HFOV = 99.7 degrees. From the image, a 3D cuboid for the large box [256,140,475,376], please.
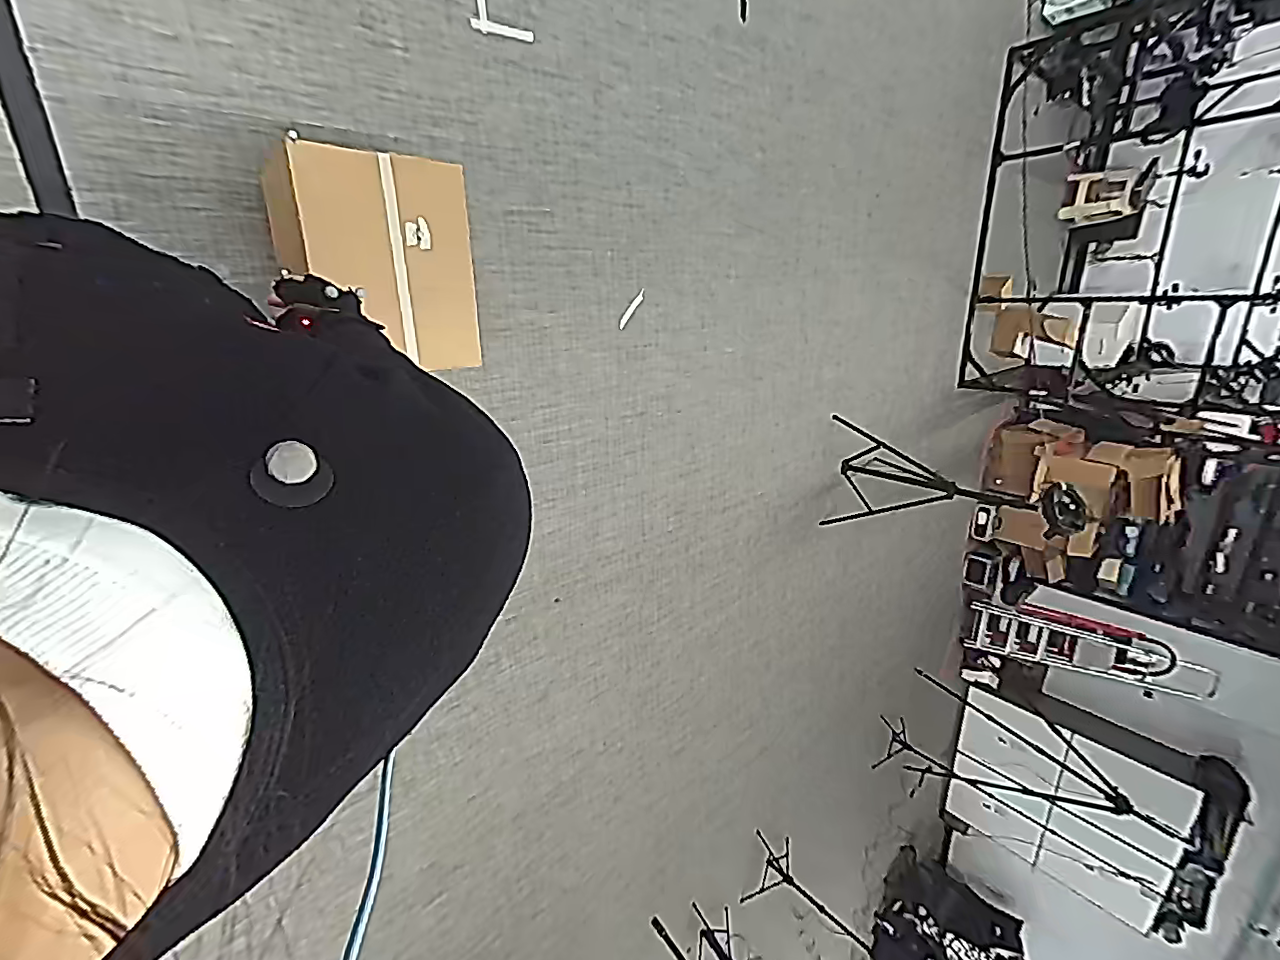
[{"bbox_3d":[-0.592,-0.451,1.177,0.320,0.320,0.408,-16,112,-40],"label":"large box"}]
